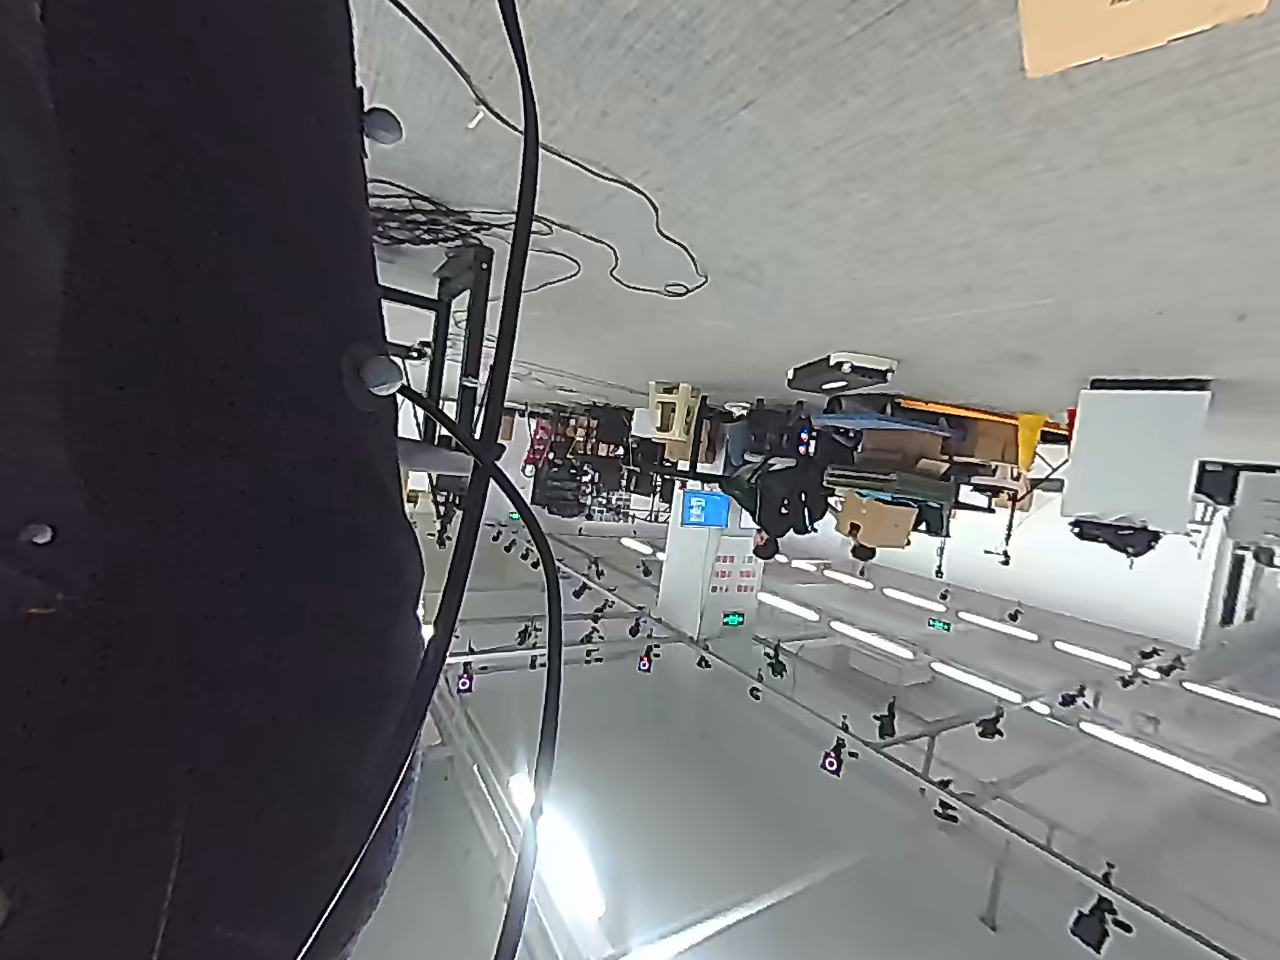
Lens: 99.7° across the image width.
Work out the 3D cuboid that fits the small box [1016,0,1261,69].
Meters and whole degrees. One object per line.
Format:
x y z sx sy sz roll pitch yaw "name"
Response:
0.410 -0.489 0.428 0.168 0.176 0.179 9 -177 39 "small box"
